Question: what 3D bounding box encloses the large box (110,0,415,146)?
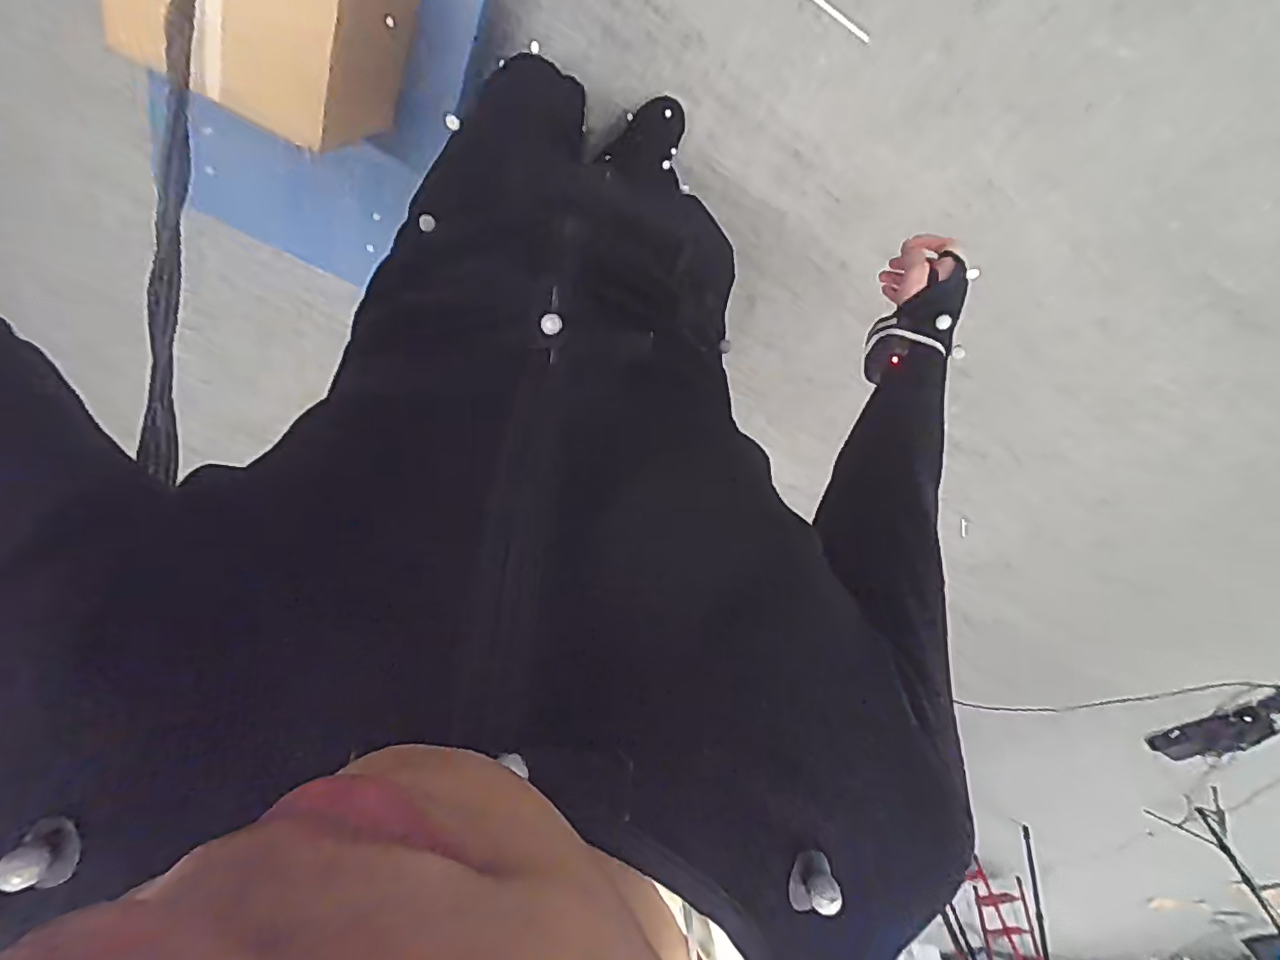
[{"bbox_3d":[-0.557,-0.837,0.848,0.320,0.320,0.408,24,127,-16],"label":"large box"}]
